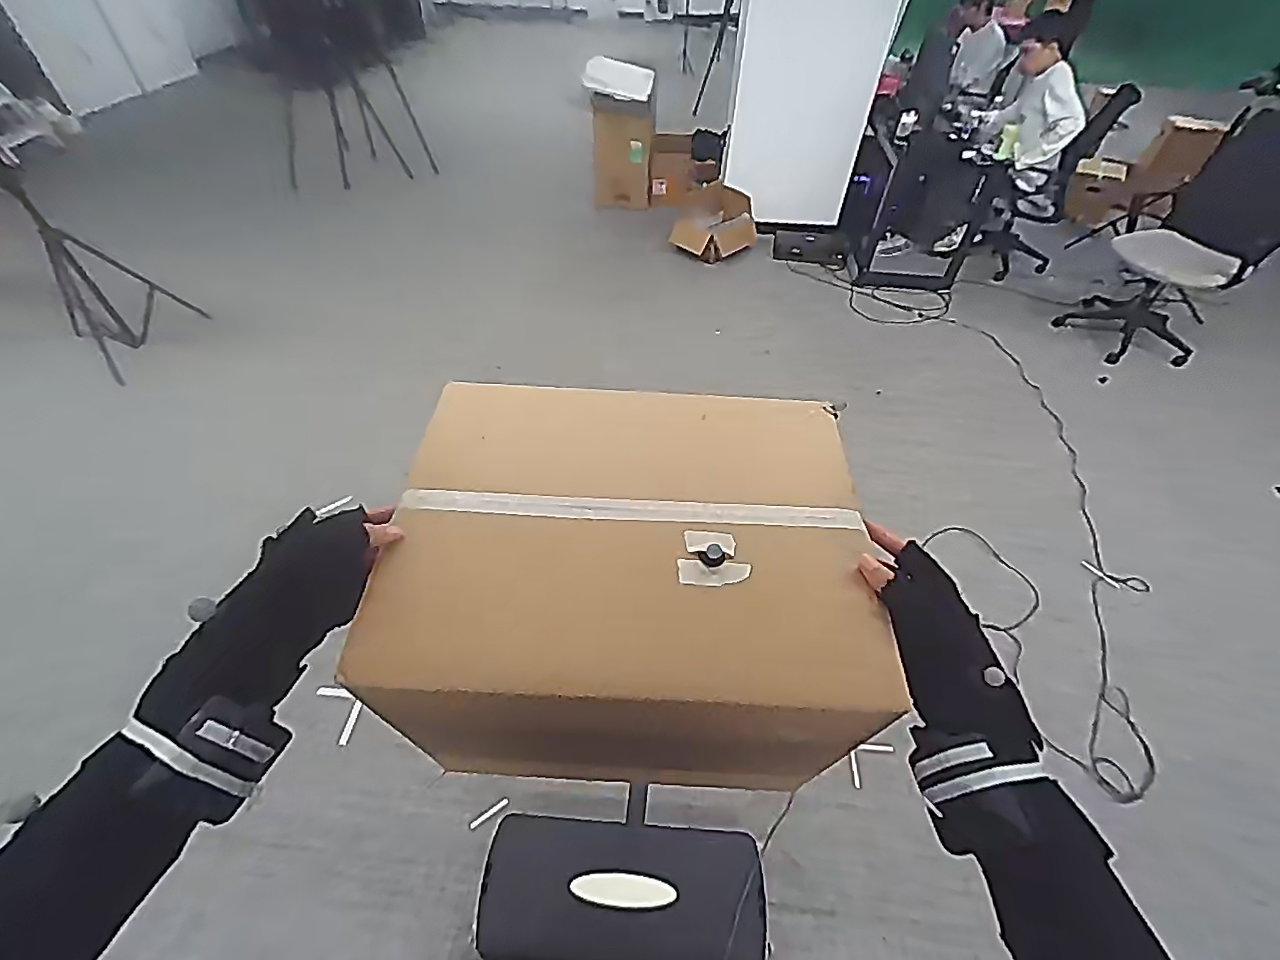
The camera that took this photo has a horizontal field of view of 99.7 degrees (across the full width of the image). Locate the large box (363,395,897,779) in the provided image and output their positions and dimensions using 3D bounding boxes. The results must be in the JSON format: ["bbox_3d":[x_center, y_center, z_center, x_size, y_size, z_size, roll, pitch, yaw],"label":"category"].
[{"bbox_3d":[-0.010,0.128,0.603,0.408,0.320,0.320,3,52,-1],"label":"large box"}]
